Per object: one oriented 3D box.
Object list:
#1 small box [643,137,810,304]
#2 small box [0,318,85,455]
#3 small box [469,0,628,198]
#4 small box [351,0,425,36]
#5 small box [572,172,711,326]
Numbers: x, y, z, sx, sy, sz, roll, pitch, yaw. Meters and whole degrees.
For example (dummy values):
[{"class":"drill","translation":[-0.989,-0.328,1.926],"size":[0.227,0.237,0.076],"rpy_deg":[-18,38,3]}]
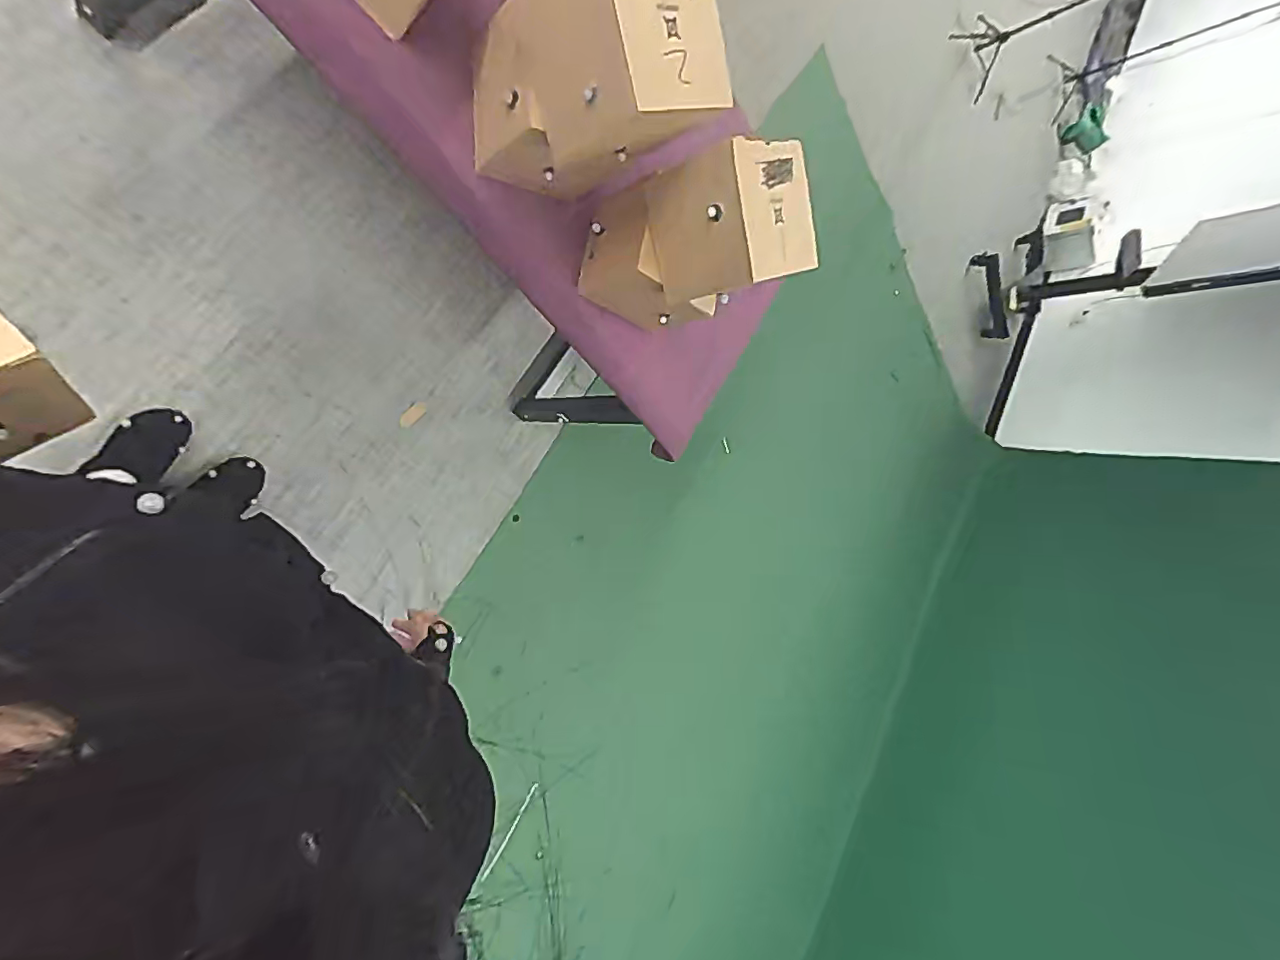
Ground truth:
[{"class":"small box","translation":[0.125,-0.375,0.800],"size":[0.168,0.176,0.179],"rpy_deg":[-27,111,-38]},{"class":"small box","translation":[-0.780,-0.121,0.588],"size":[0.179,0.176,0.168],"rpy_deg":[48,56,-6]},{"class":"small box","translation":[-0.134,-0.532,0.773],"size":[0.168,0.176,0.179],"rpy_deg":[-5,98,-41]},{"class":"small box","translation":[-0.294,-0.675,0.620],"size":[0.168,0.176,0.179],"rpy_deg":[36,71,-38]},{"class":"small box","translation":[0.013,-0.375,0.920],"size":[0.179,0.176,0.168],"rpy_deg":[16,83,-40]}]
